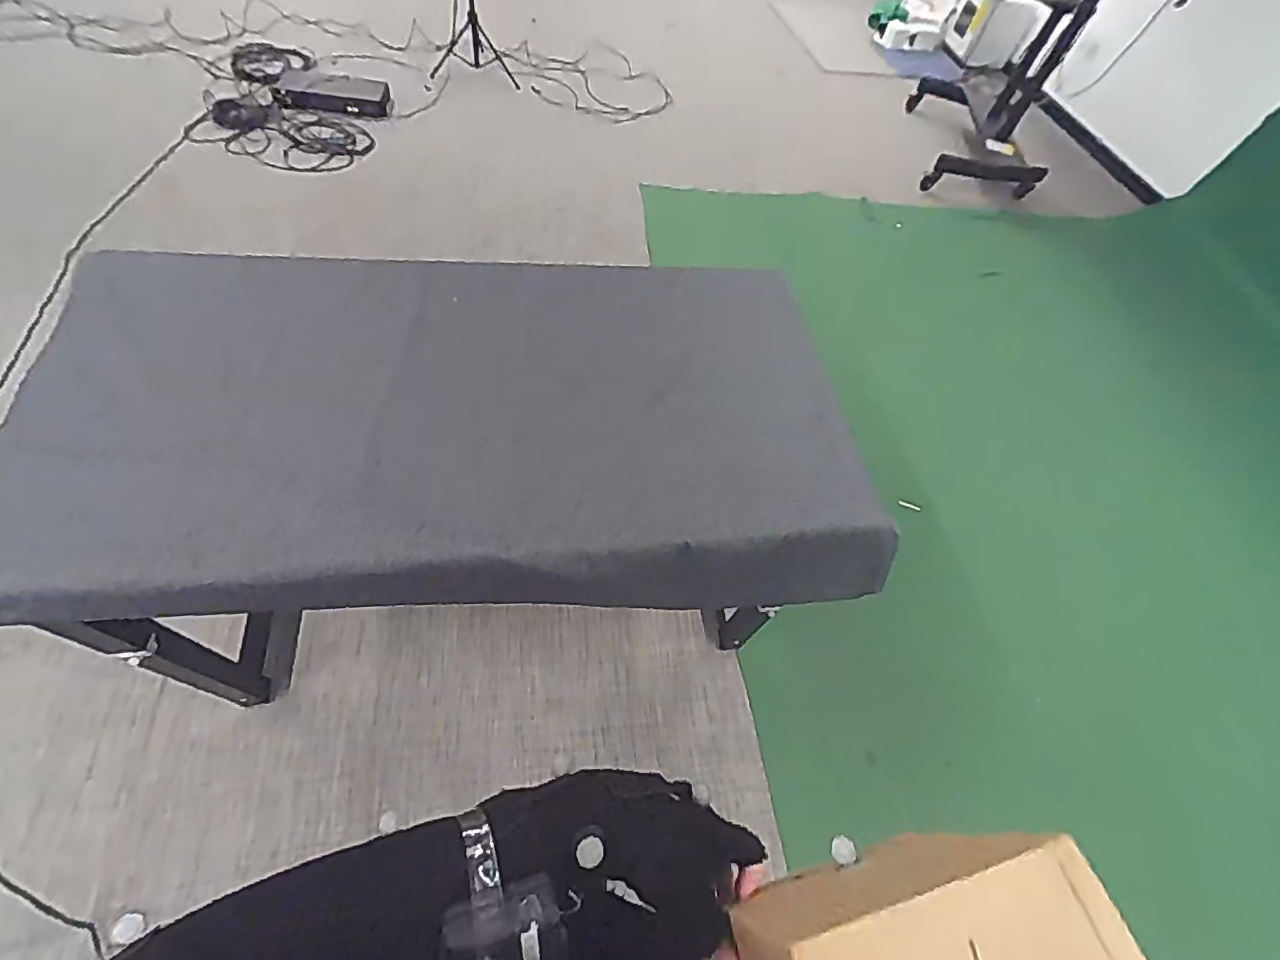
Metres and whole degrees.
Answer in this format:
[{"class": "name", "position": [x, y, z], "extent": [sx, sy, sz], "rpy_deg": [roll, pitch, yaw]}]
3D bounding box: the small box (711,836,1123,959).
[{"class": "small box", "position": [0.153, 0.315, 0.295], "extent": [0.168, 0.176, 0.179], "rpy_deg": [-8, 58, -13]}]
